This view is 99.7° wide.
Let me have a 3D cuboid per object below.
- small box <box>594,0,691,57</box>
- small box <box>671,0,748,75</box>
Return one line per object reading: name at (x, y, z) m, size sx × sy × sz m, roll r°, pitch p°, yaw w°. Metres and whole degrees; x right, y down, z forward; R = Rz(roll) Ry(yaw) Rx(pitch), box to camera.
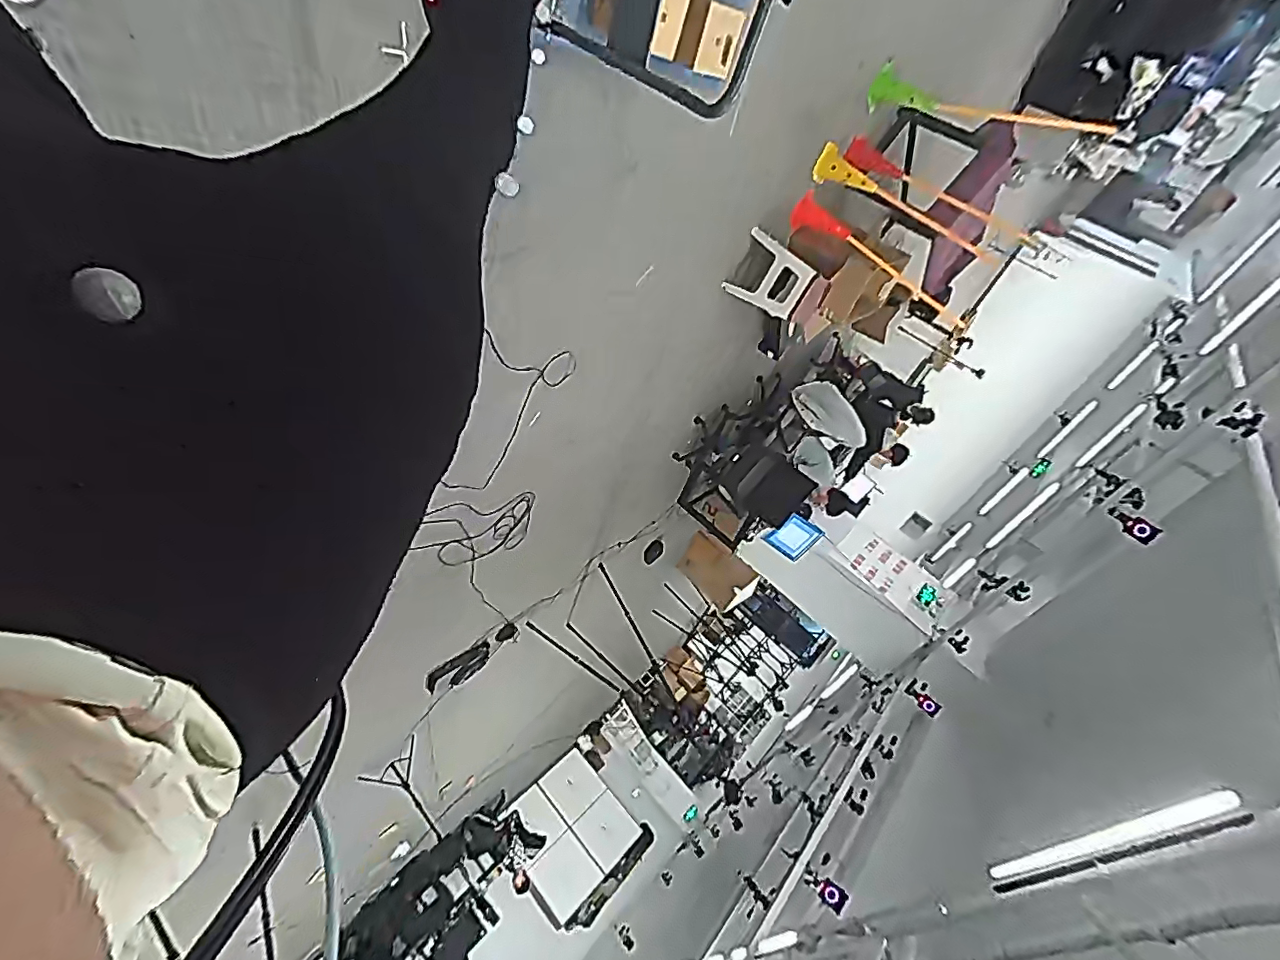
small box at (0.009, -1.266, 1.432) m, size 0.179 × 0.176 × 0.168 m, roll -24°, pitch 148°, yaw -42°
small box at (0.183, -1.345, 1.614) m, size 0.179 × 0.176 × 0.168 m, roll -27°, pitch 149°, yaw -40°
